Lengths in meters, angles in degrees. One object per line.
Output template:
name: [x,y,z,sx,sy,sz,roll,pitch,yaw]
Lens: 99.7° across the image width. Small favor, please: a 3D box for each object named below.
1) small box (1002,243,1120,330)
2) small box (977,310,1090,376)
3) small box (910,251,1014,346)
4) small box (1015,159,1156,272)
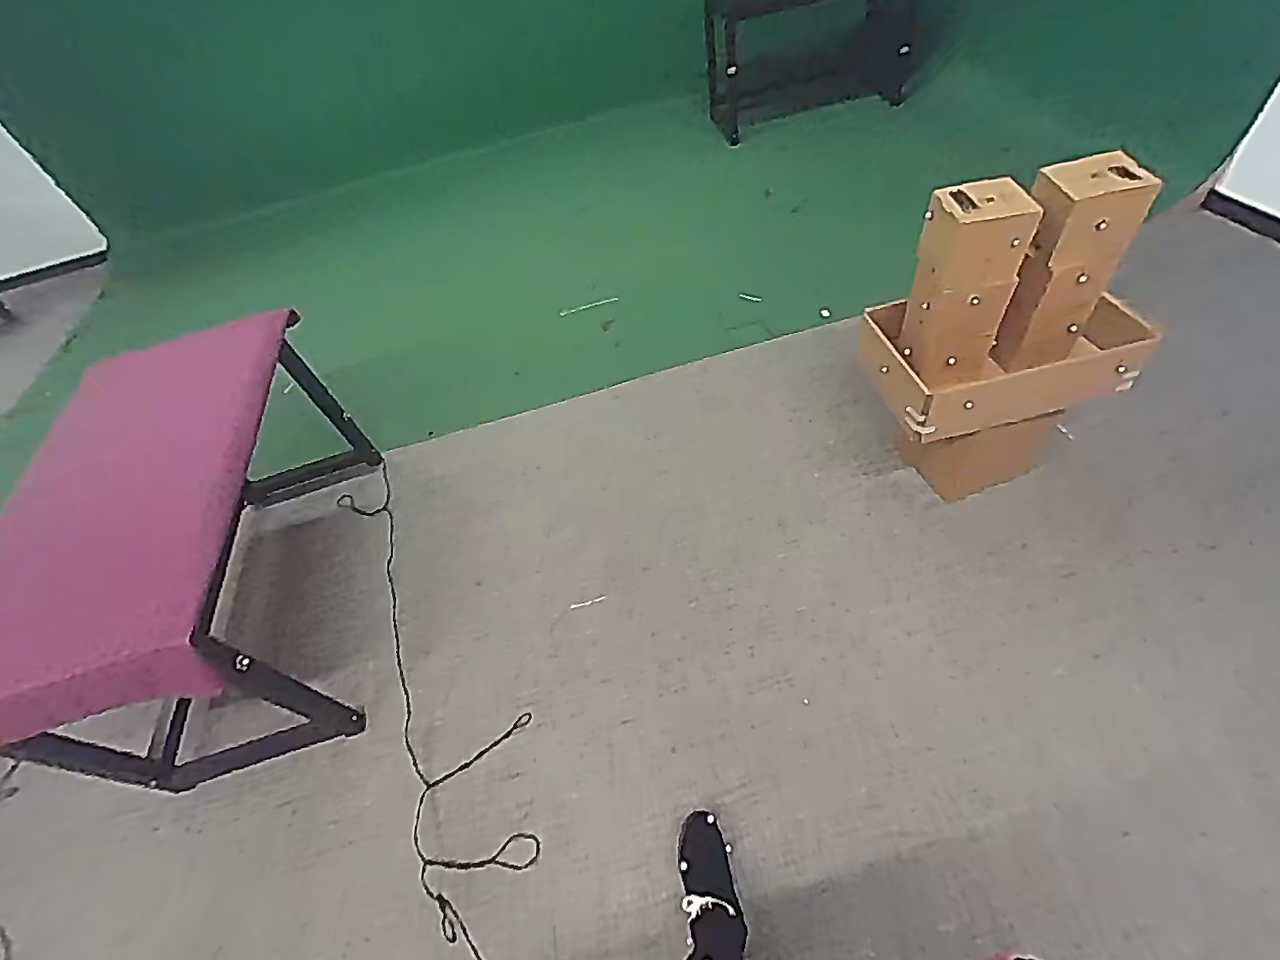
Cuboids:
small box: [1.071,-0.522,1.411,0.179,0.176,0.168,-17,51,1]
small box: [1.103,-0.423,1.534,0.179,0.176,0.168,-15,49,1]
small box: [0.828,-0.470,1.417,0.179,0.176,0.168,-6,51,6]
small box: [1.044,-0.626,1.287,0.179,0.176,0.168,-10,50,8]
